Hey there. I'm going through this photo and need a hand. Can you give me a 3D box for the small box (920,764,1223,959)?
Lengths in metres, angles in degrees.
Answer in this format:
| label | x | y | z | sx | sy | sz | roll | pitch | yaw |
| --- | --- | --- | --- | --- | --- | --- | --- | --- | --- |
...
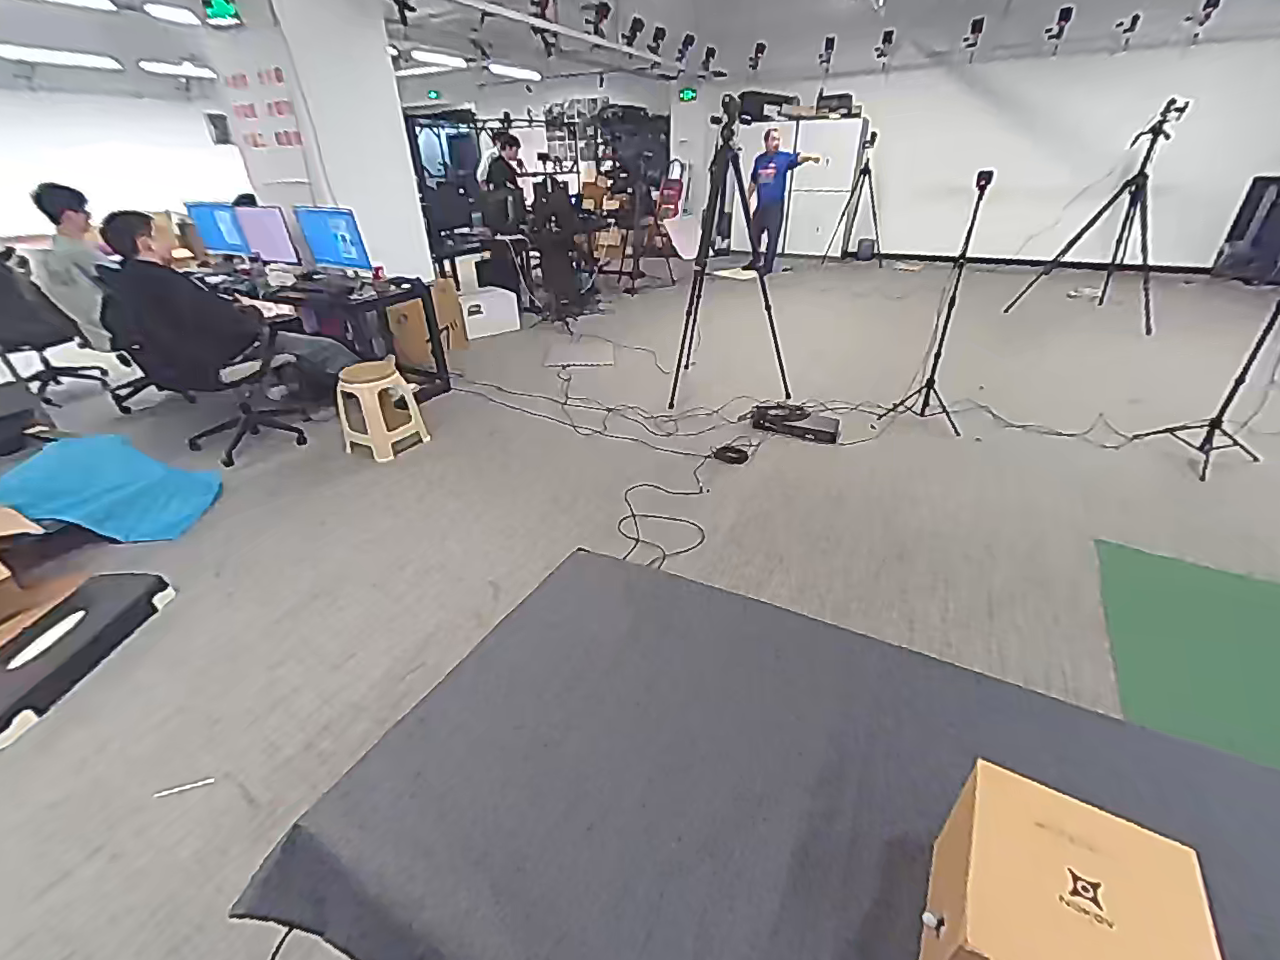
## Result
| label | x | y | z | sx | sy | sz | roll | pitch | yaw |
| --- | --- | --- | --- | --- | --- | --- | --- | --- | --- |
| small box | 0.356 | 0.404 | 0.470 | 0.168 | 0.176 | 0.179 | 17 | 34 | 27 |
